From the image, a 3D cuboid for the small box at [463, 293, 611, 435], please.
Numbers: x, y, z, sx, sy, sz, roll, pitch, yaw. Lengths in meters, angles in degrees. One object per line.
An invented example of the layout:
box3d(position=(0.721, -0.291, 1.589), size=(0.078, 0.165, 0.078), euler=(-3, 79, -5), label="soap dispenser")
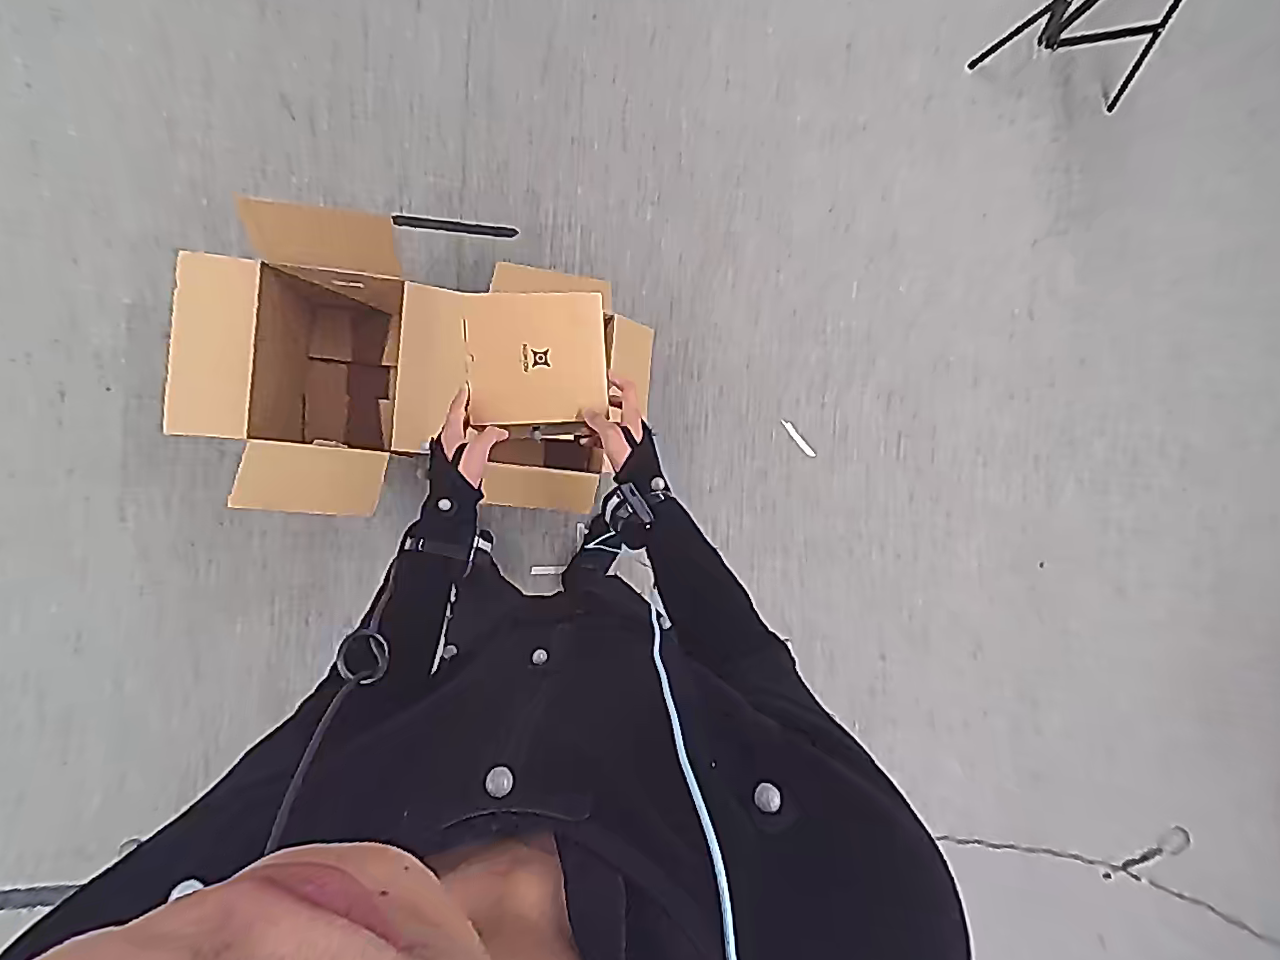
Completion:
box3d(position=(-0.138, -0.153, 0.755), size=(0.179, 0.176, 0.168), euler=(-4, 91, -7), label="small box")
